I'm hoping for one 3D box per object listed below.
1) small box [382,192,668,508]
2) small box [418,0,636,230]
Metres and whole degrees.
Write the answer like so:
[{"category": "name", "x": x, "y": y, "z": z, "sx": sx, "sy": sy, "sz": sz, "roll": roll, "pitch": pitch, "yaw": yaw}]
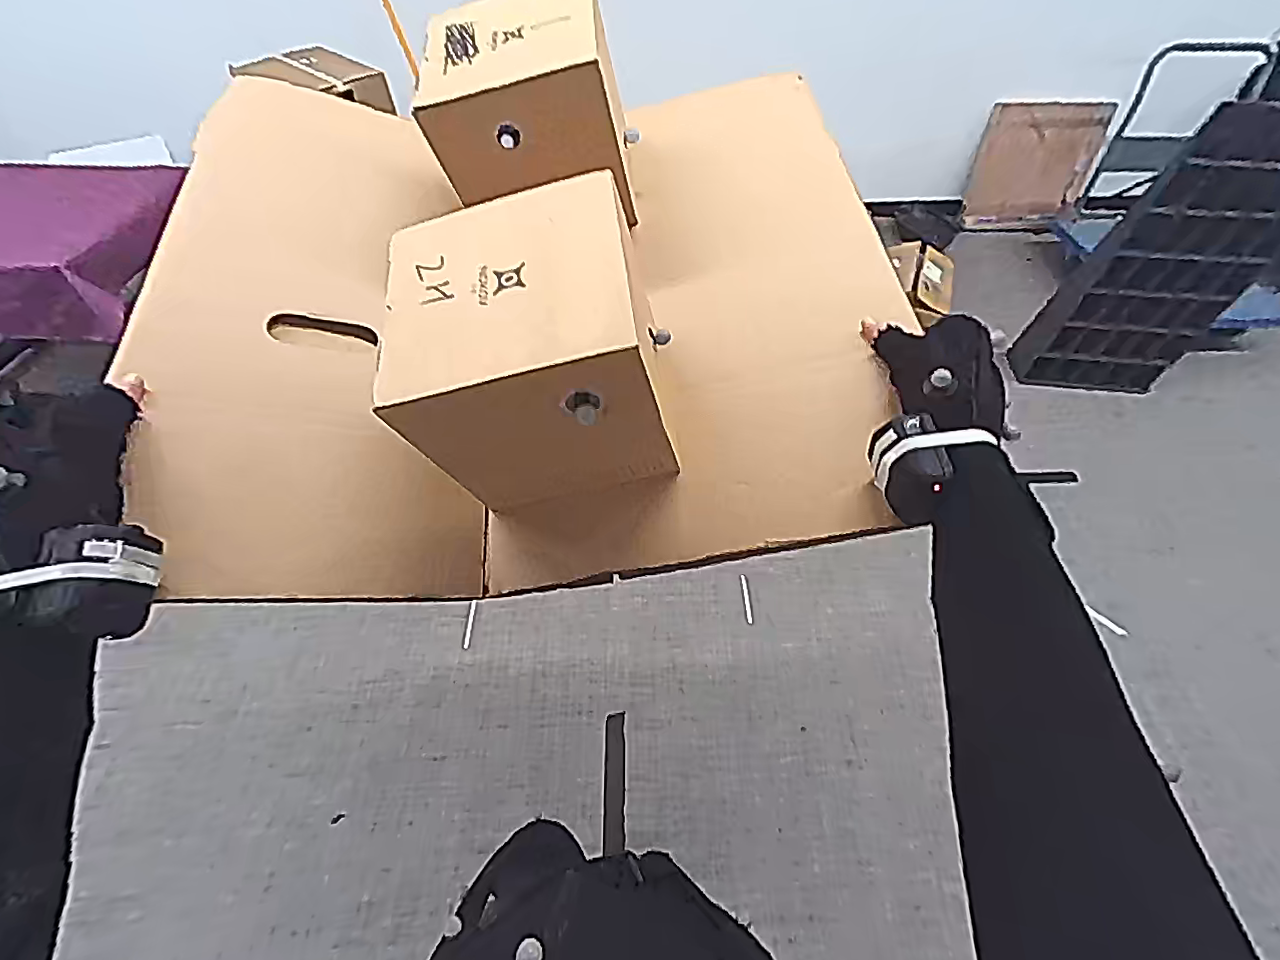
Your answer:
[{"category": "small box", "x": -0.077, "y": -0.092, "z": 0.448, "sx": 0.179, "sy": 0.176, "sz": 0.168, "roll": -12, "pitch": 62, "yaw": 9}, {"category": "small box", "x": -0.110, "y": -0.372, "z": 0.593, "sx": 0.179, "sy": 0.176, "sz": 0.168, "roll": -9, "pitch": 63, "yaw": 8}]
